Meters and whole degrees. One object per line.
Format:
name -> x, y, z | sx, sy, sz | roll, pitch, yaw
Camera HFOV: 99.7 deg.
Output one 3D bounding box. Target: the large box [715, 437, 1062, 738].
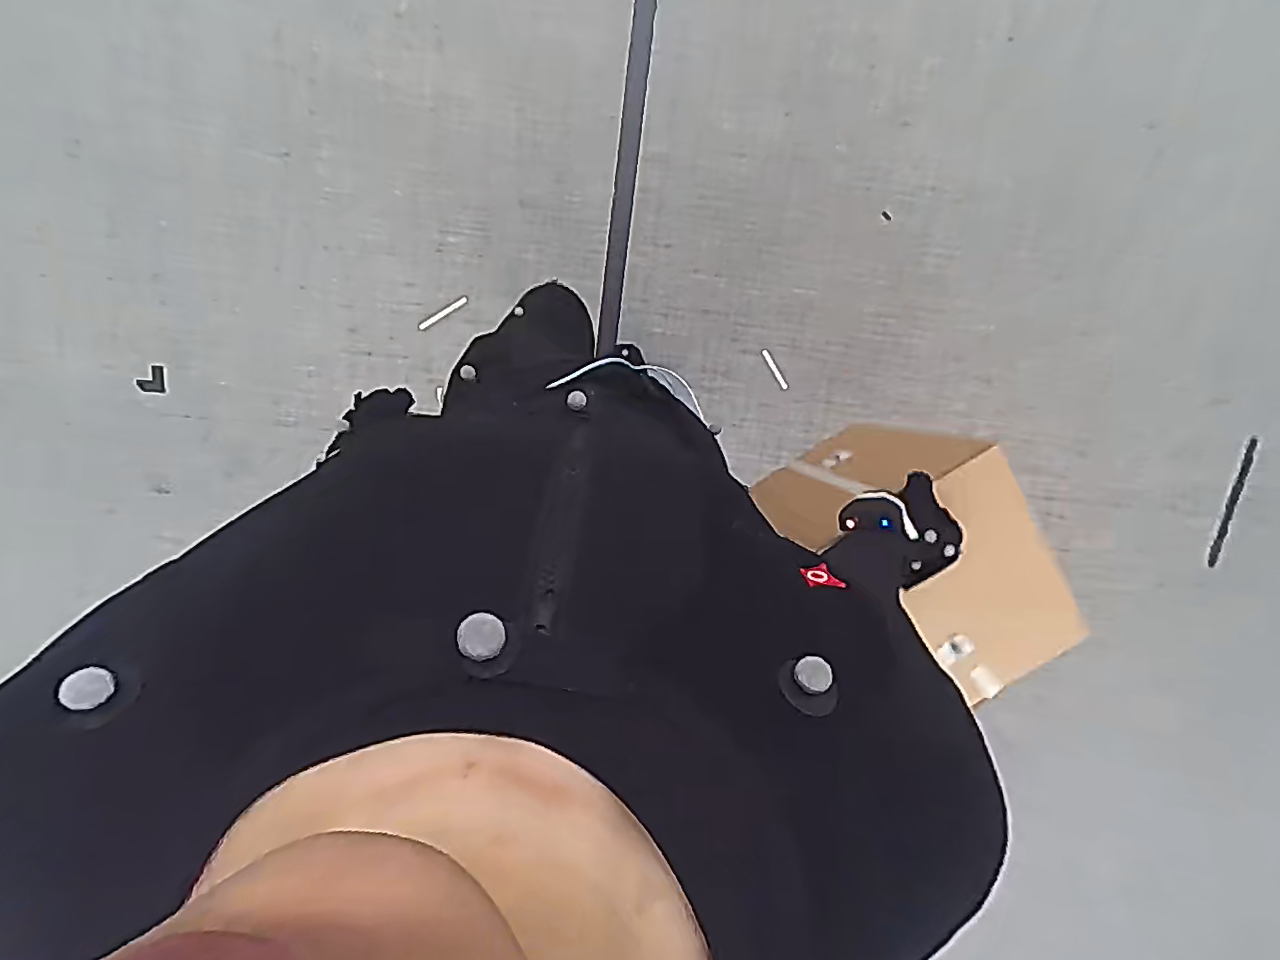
large box -> 0.373, 0.140, 0.921 | 0.320, 0.408, 0.320 | -29, 98, 0
